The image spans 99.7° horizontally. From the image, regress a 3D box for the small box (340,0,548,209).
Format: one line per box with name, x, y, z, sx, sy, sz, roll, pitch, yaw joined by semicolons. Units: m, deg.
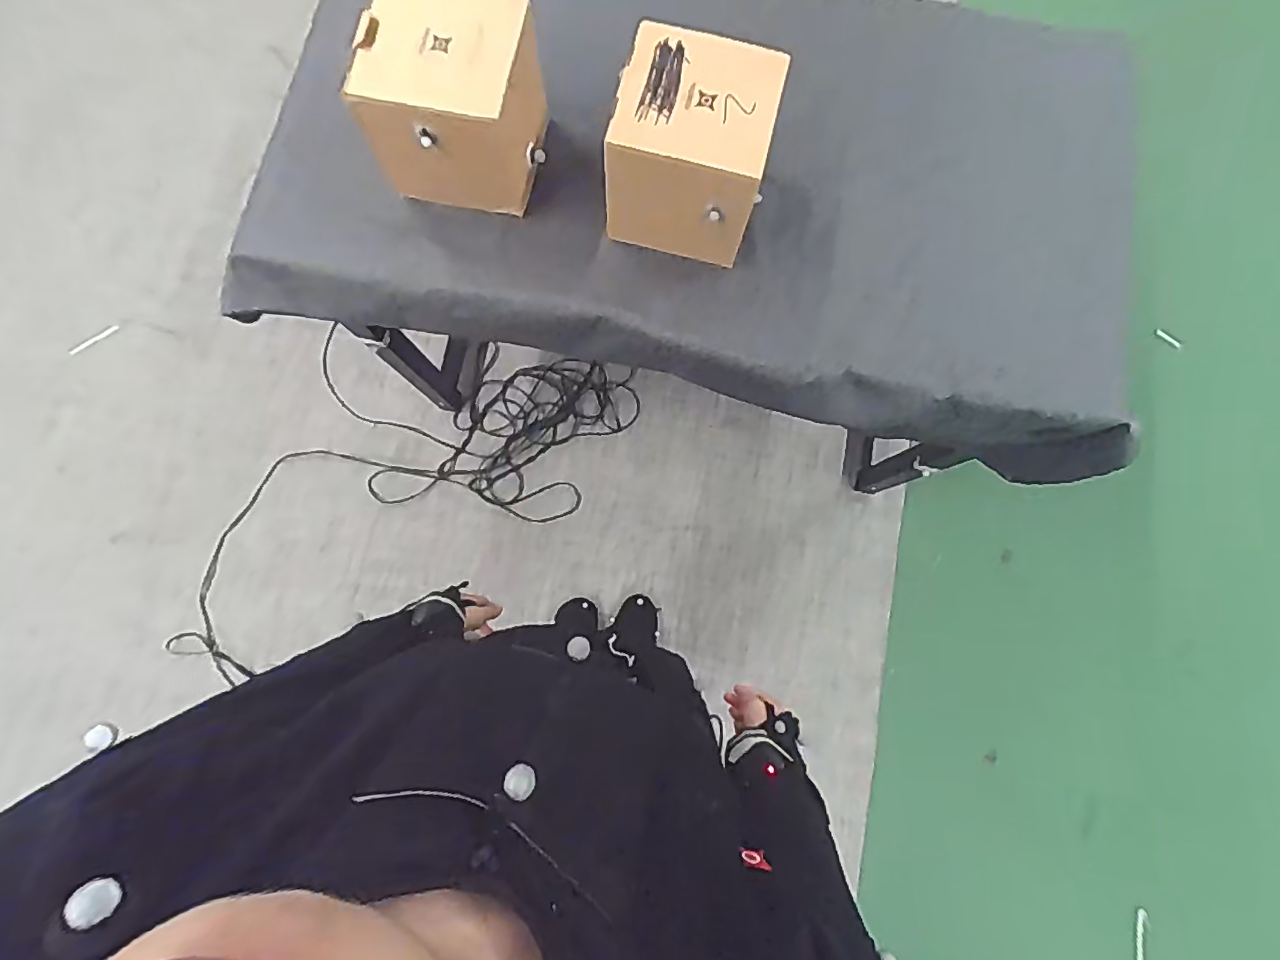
small box;-0.226;-0.470;0.673;0.179;0.176;0.168;11;81;0
